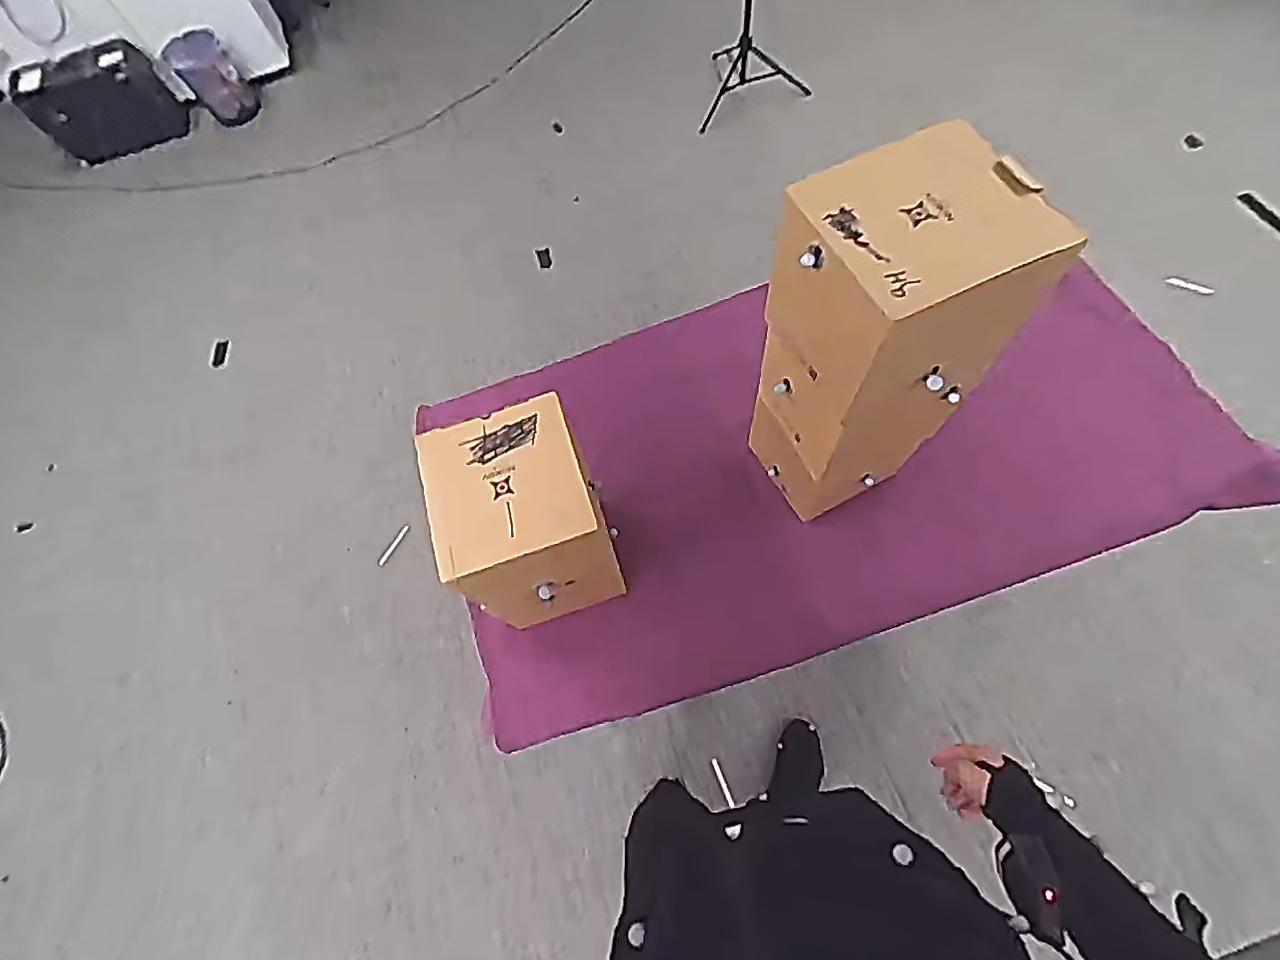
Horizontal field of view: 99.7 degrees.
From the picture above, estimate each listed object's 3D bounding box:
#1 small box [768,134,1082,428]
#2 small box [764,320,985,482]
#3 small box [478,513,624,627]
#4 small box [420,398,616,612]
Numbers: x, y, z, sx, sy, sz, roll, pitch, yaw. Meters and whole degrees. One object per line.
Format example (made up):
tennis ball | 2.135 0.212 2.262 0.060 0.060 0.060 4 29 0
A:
small box | 0.243 -0.179 0.518 0.179 0.176 0.168 -22 66 -5
small box | 0.266 -0.120 0.669 0.179 0.176 0.168 -23 66 -4
small box | -0.135 0.104 0.792 0.179 0.176 0.168 -18 66 -3
small box | -0.136 0.037 0.641 0.168 0.176 0.179 -19 67 -3
